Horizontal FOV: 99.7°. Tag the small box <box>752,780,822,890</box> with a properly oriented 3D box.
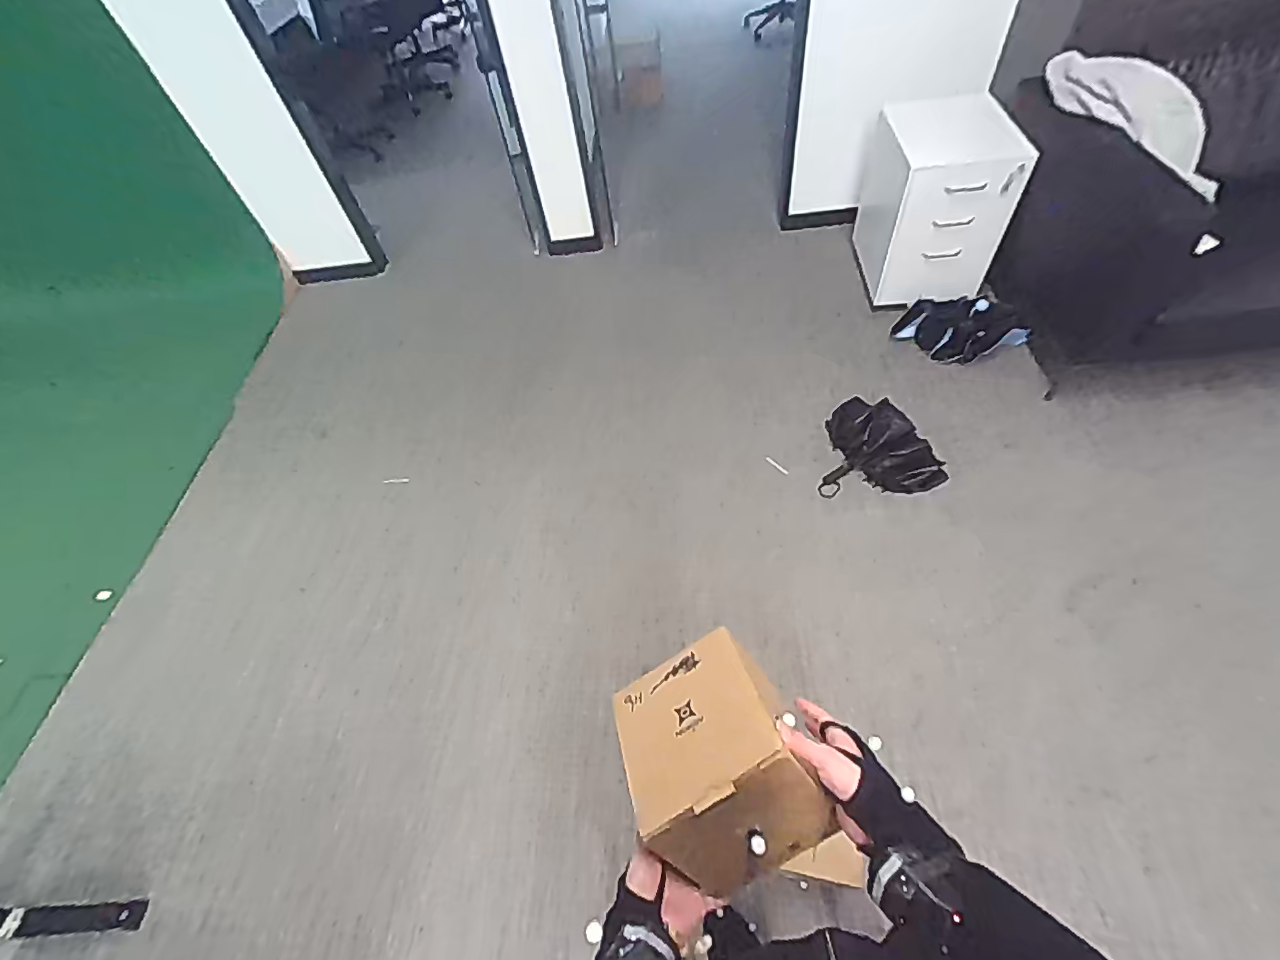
[{"bbox_3d":[0.343,0.797,1.214,0.168,0.176,0.179,5,55,12],"label":"small box"}]

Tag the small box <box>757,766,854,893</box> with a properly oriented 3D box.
[{"bbox_3d":[0.326,0.699,1.082,0.168,0.176,0.179,6,55,13],"label":"small box"}]
